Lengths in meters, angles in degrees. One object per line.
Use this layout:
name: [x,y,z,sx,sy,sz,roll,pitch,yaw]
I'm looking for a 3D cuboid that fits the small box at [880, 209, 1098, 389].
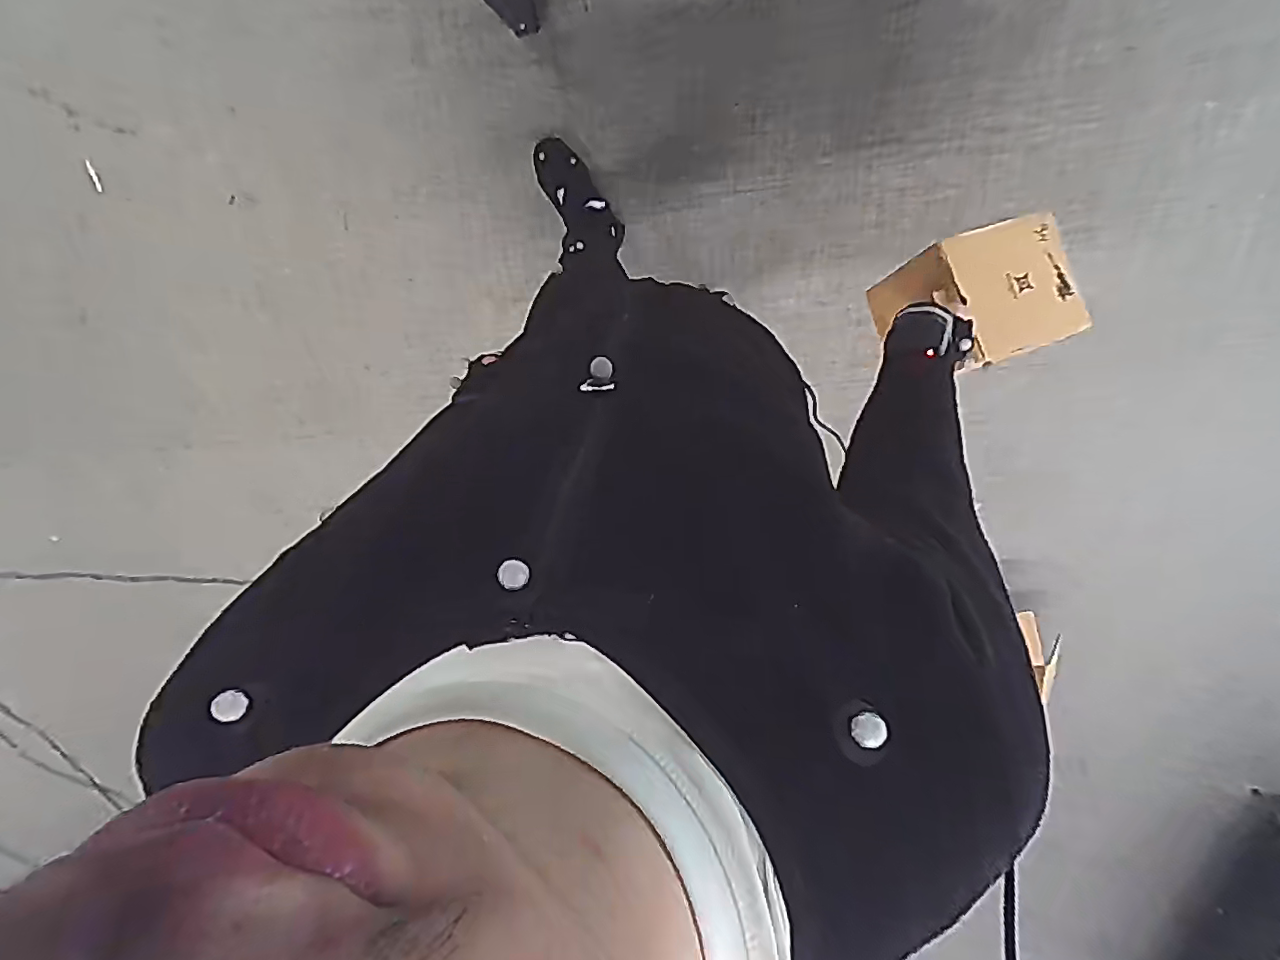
small box: [0.464,-0.238,0.752,0.179,0.176,0.168,-16,88,-9]
